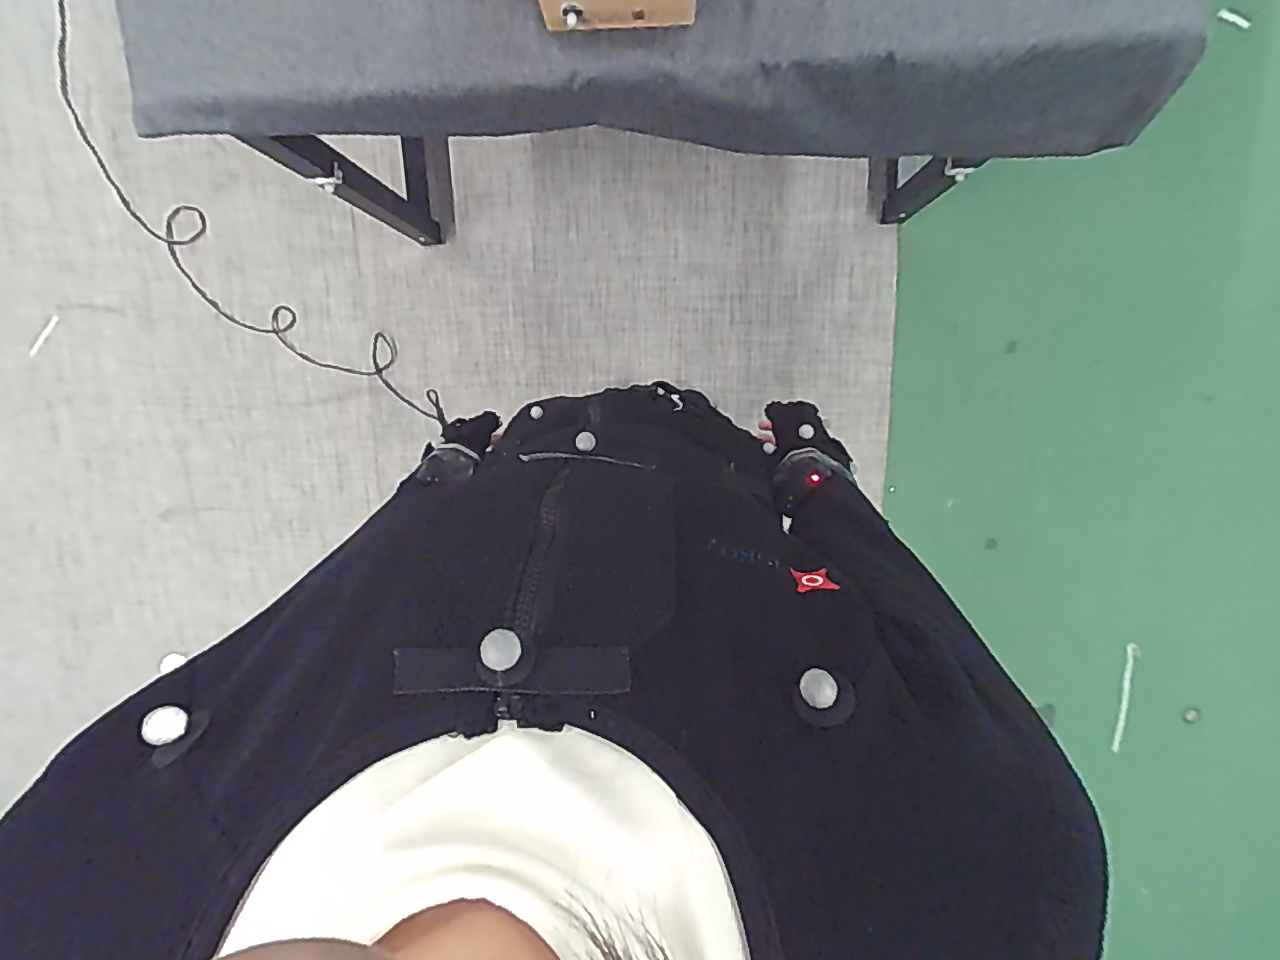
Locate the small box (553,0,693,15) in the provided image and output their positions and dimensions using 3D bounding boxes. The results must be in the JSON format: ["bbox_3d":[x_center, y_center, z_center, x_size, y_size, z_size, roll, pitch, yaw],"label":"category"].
[{"bbox_3d":[-0.025,-0.594,0.521,0.168,0.176,0.179,0,98,3],"label":"small box"}]
